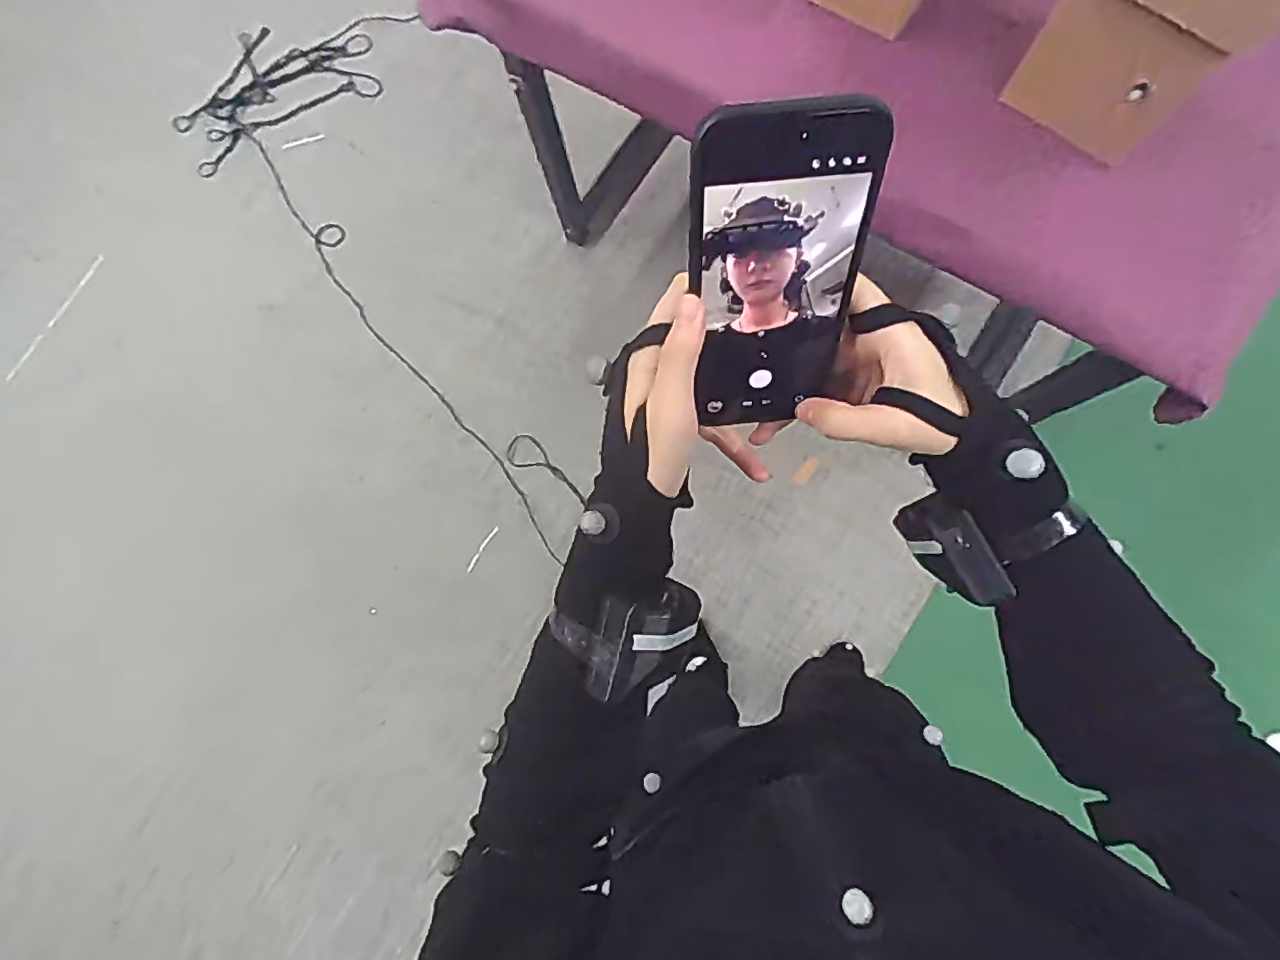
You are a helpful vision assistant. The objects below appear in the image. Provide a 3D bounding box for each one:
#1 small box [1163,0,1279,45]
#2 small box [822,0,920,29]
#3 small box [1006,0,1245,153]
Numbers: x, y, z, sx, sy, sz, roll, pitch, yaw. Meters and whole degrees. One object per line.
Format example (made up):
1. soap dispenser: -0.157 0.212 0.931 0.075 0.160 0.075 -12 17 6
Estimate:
1. small box: 0.575 -0.540 0.468 0.179 0.176 0.168 41 86 9
2. small box: 0.325 -0.735 0.688 0.179 0.176 0.168 35 85 10
3. small box: 0.591 -0.529 0.632 0.179 0.176 0.168 42 86 11
